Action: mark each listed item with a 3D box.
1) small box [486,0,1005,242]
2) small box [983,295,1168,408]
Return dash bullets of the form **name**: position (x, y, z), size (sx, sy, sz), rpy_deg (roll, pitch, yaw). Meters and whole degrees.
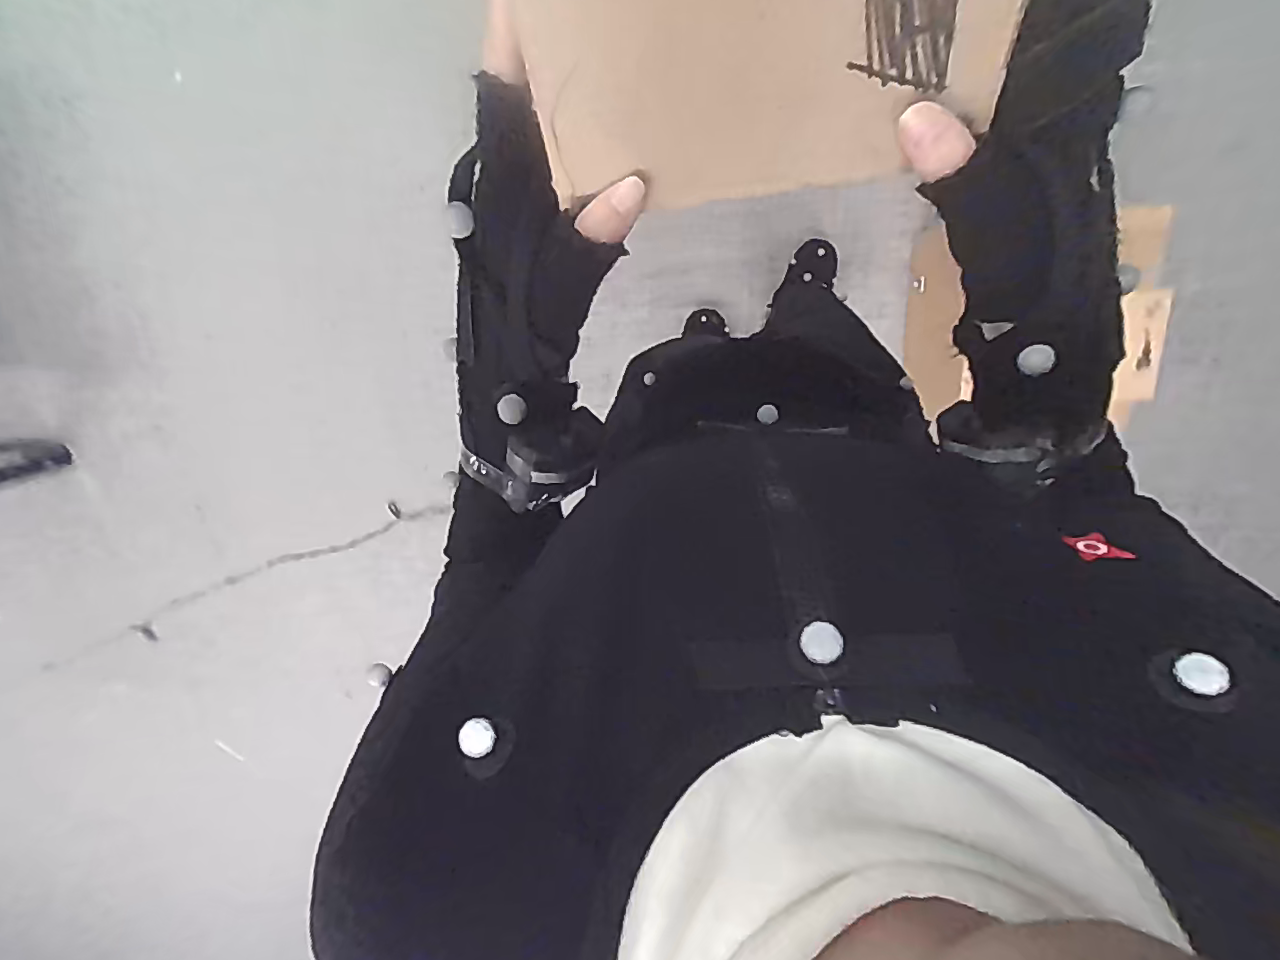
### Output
- **small box**: position (0.031, -0.233, 0.224), size (0.179, 0.176, 0.168), rpy_deg (-9, 139, 9)
- **small box**: position (0.714, -0.220, 0.913), size (0.179, 0.176, 0.168), rpy_deg (-2, 108, 8)
